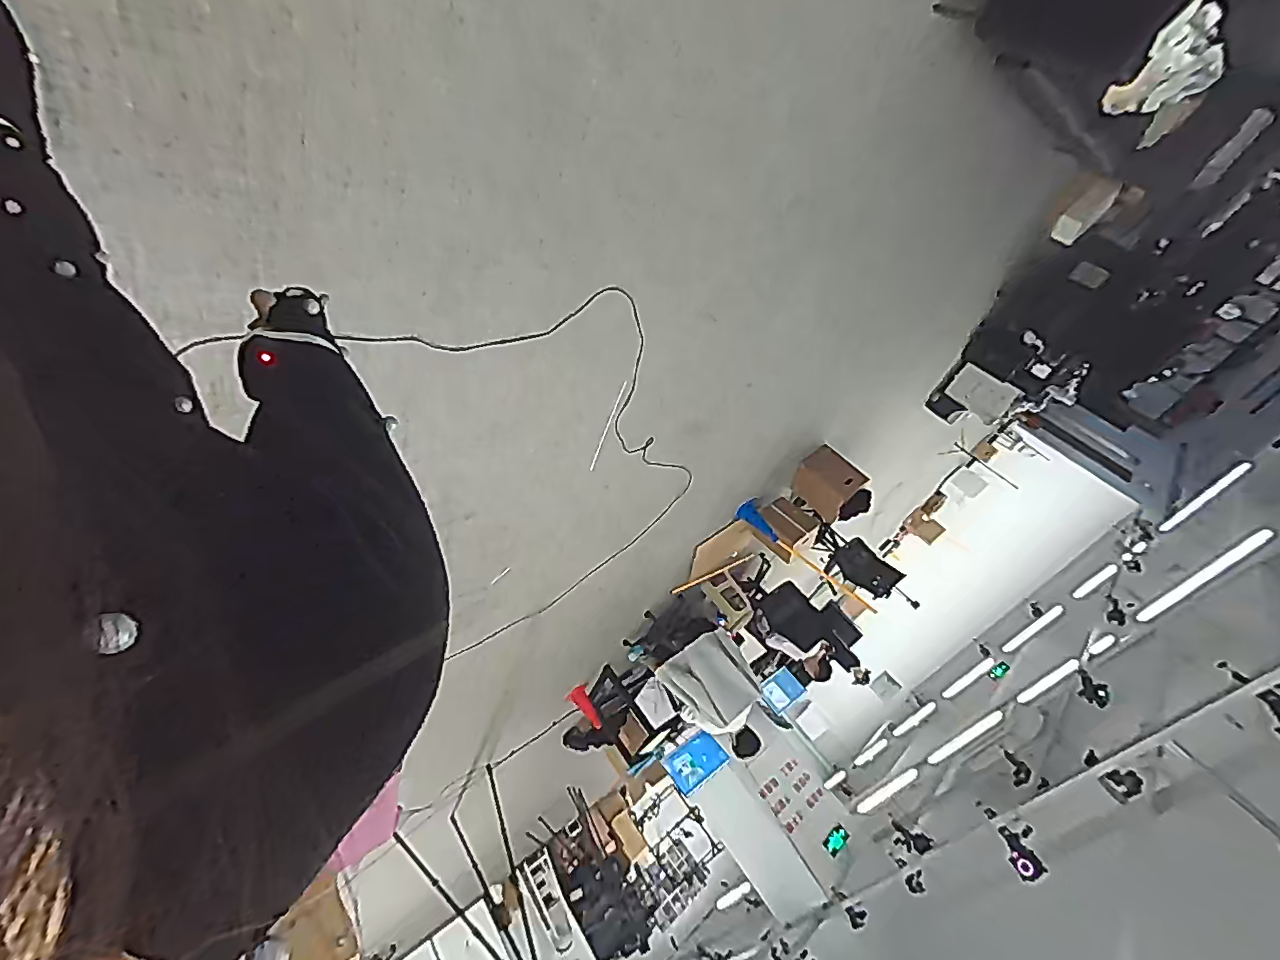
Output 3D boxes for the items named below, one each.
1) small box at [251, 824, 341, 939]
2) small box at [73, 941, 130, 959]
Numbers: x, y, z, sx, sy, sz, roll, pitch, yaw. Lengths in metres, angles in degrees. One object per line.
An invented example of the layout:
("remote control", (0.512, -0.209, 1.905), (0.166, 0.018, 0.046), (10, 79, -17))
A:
("small box", (-0.920, 1.068, 1.449), (0.168, 0.176, 0.179), (-16, 142, -41))
("small box", (-1.228, 1.161, 1.178), (0.168, 0.176, 0.179), (-18, 144, -41))
